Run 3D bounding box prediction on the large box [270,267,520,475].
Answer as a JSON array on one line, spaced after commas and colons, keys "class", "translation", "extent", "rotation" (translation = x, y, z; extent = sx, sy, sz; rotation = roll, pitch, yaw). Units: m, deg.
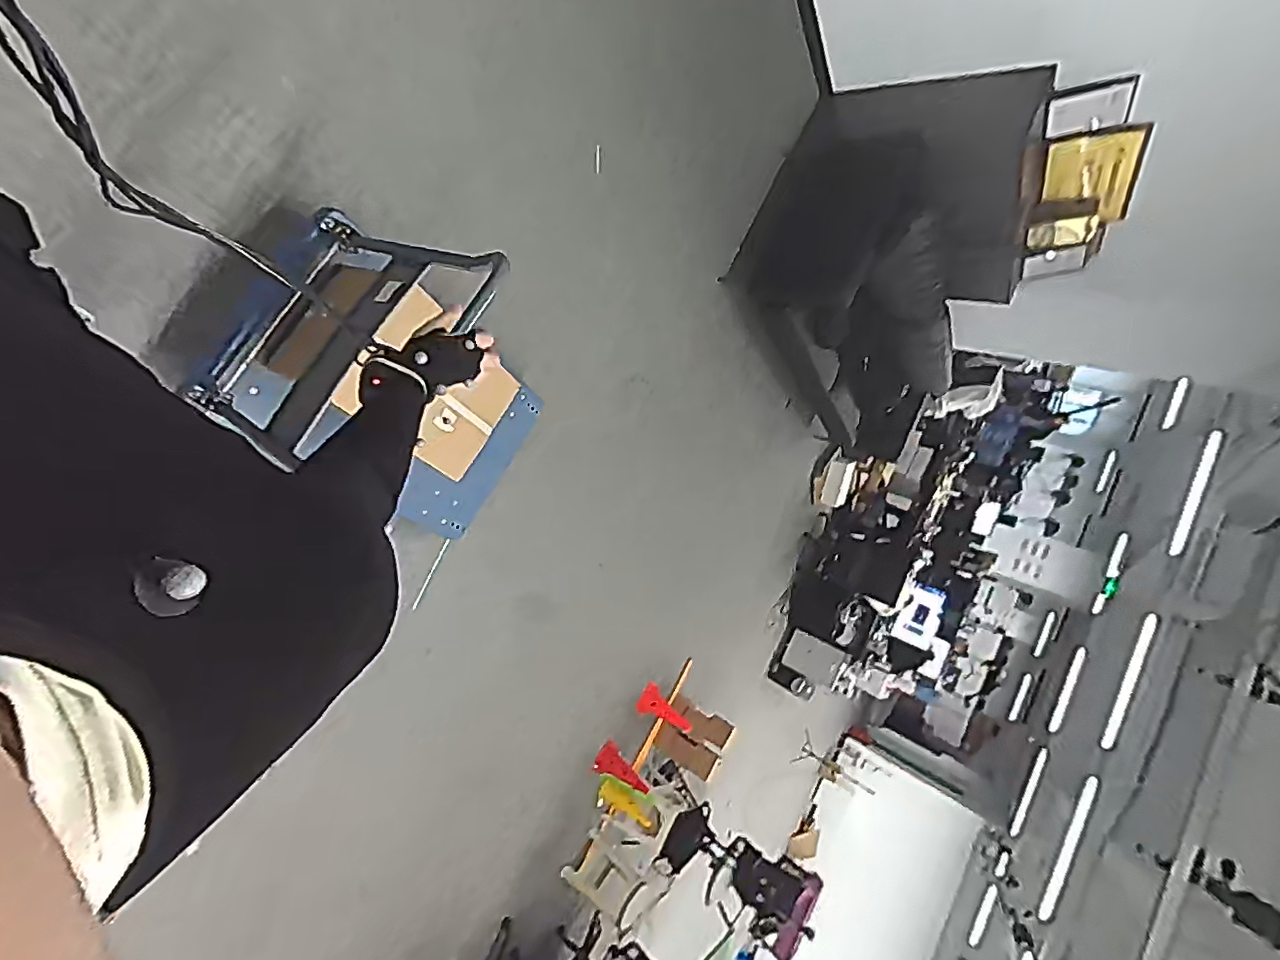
[{"class": "large box", "translation": [-0.594, -0.266, 1.352], "extent": [0.320, 0.320, 0.408], "rotation": [-60, 145, -12]}]
